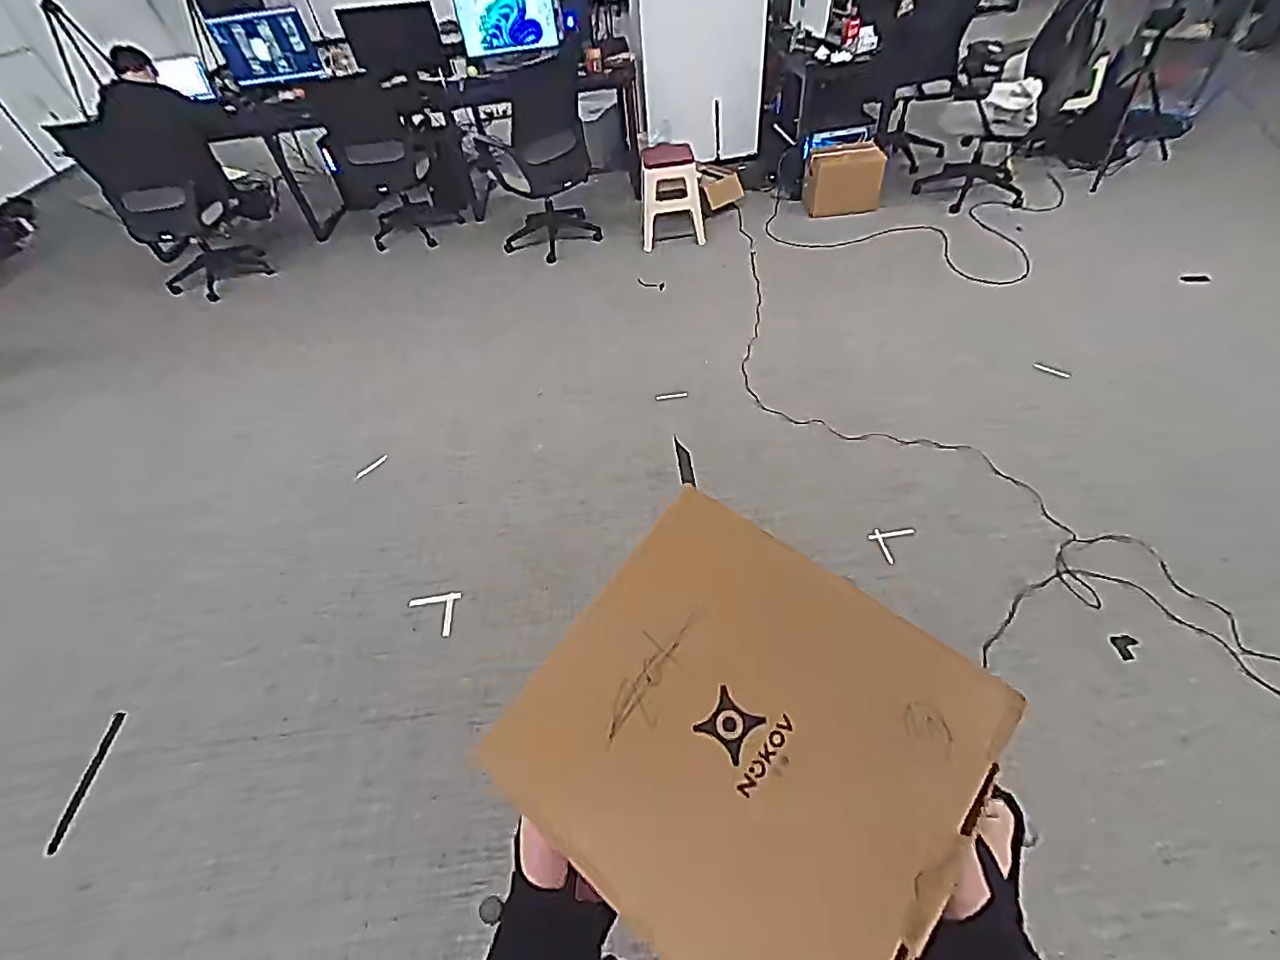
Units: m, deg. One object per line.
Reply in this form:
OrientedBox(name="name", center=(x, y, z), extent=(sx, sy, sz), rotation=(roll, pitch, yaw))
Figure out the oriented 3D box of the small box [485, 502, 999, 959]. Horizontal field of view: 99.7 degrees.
OrientedBox(name="small box", center=(0.053, 0.147, 0.316), extent=(0.179, 0.176, 0.168), rotation=(32, 73, 24))
